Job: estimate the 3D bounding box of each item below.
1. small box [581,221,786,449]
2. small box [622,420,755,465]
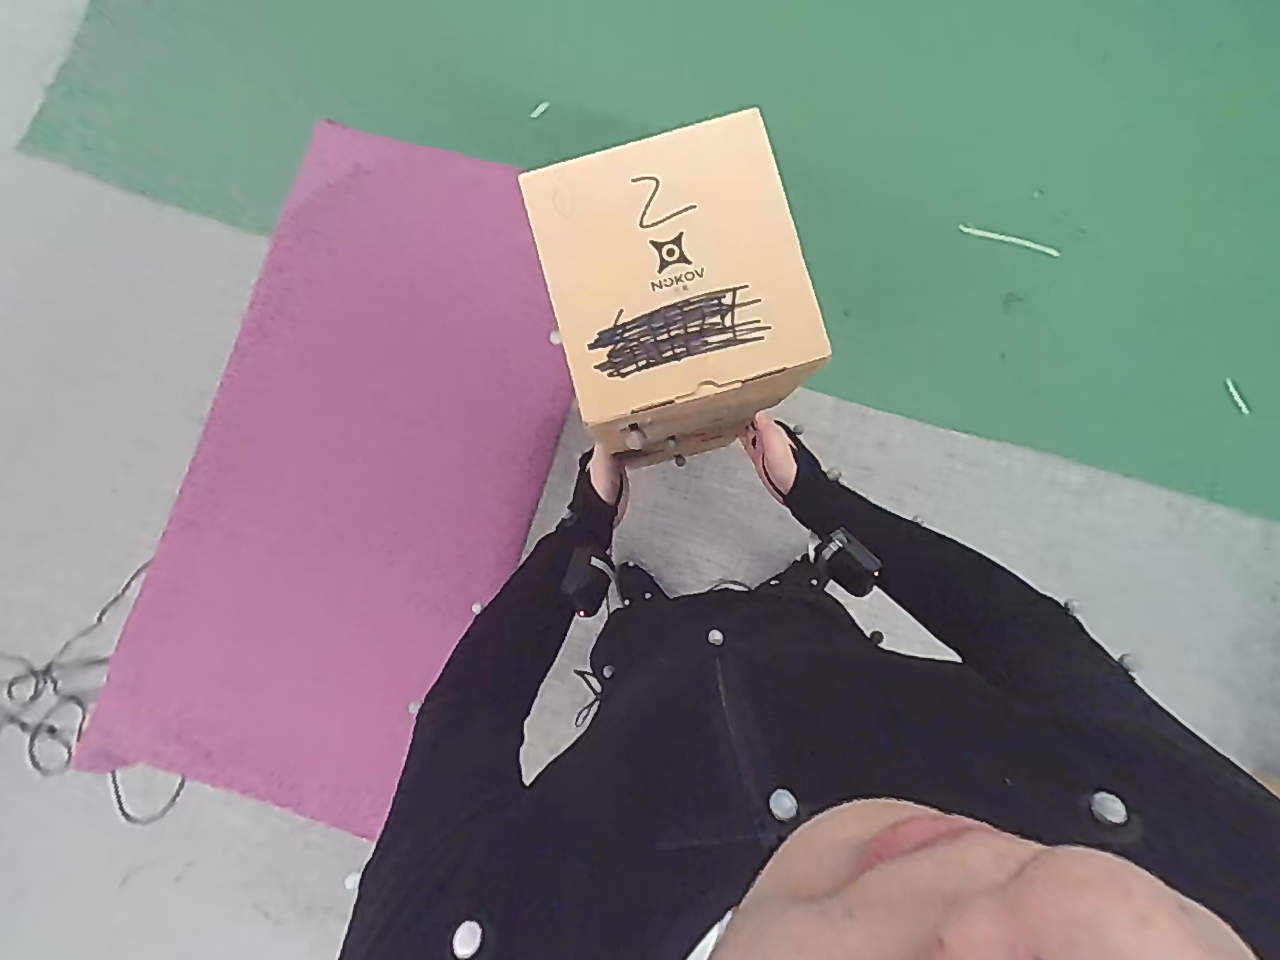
[{"bbox_3d":[0.040,-0.140,0.584,0.168,0.176,0.179,-13,88,1],"label":"small box"},{"bbox_3d":[0.046,-0.126,0.745,0.168,0.176,0.179,-13,87,2],"label":"small box"}]
